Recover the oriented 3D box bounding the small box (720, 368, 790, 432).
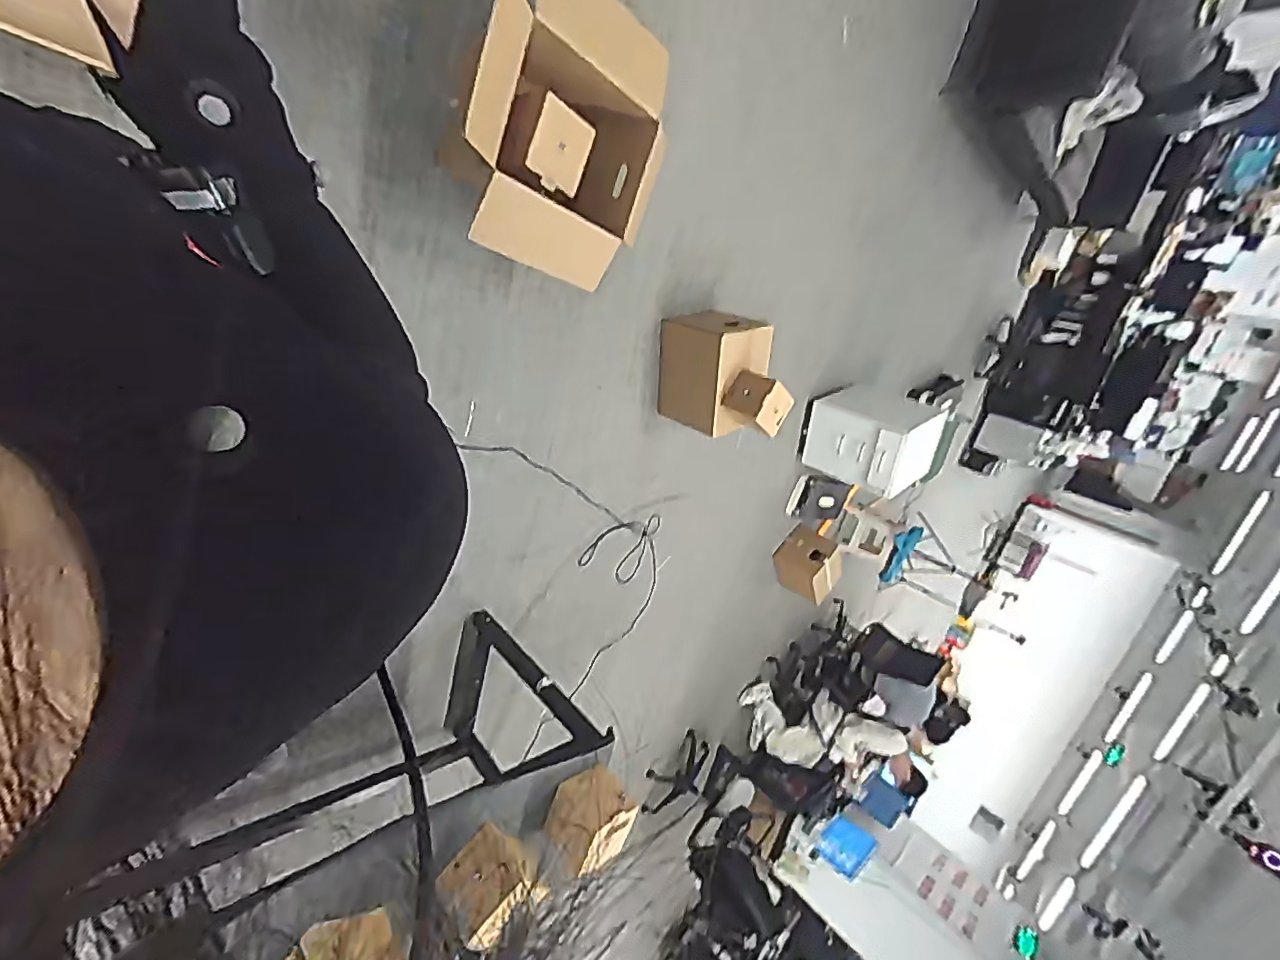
[{"bbox_3d":[0.434,-0.308,2.055,0.179,0.176,0.168,31,90,-49],"label":"small box"}]

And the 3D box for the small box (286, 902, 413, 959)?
[{"bbox_3d":[-0.591,0.986,1.067,0.168,0.176,0.179,-55,142,-6],"label":"small box"}]

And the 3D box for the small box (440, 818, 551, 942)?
[{"bbox_3d":[-0.352,0.965,1.313,0.168,0.176,0.179,-41,138,-21],"label":"small box"}]
